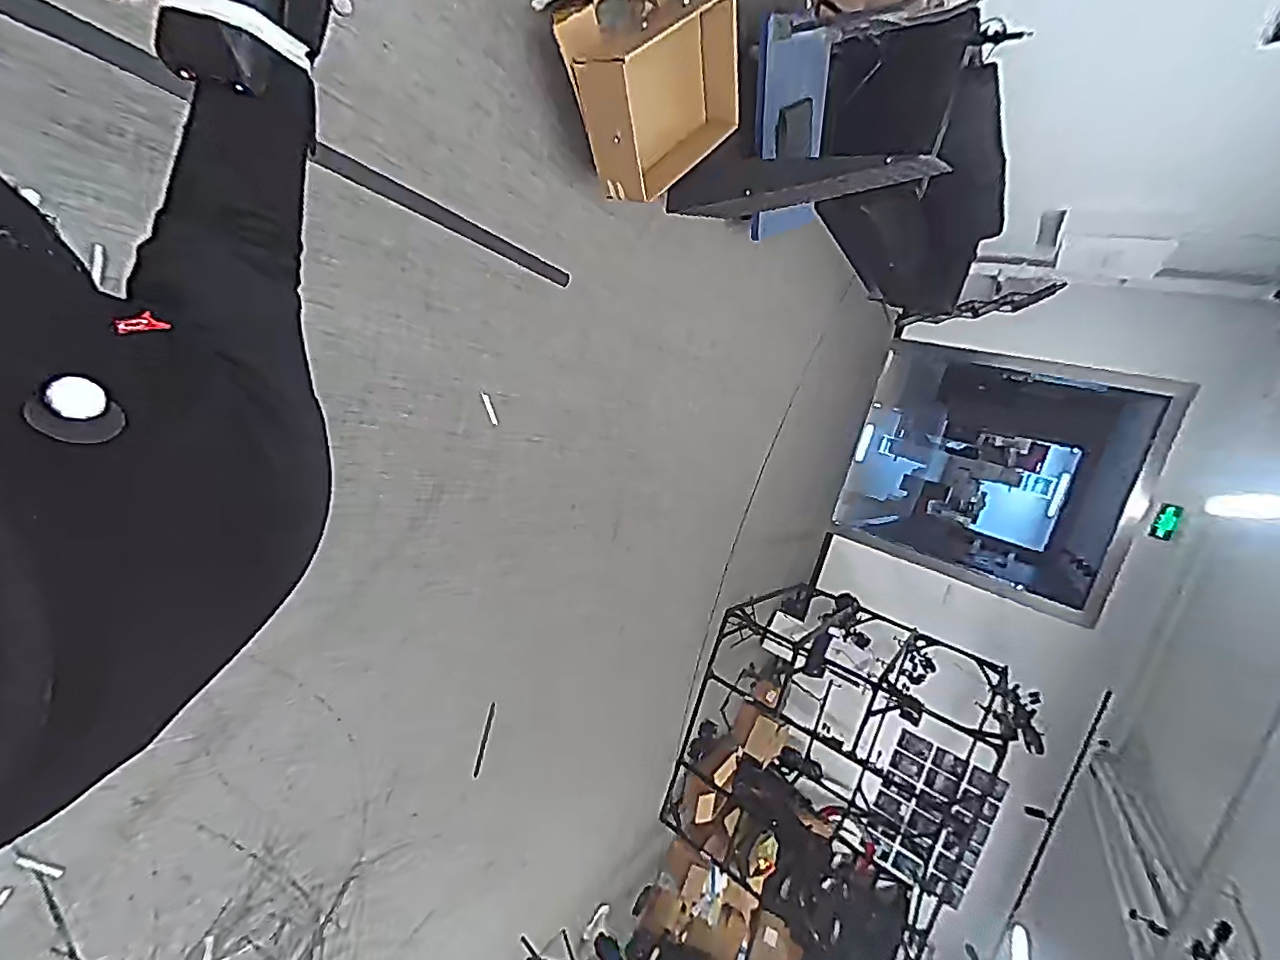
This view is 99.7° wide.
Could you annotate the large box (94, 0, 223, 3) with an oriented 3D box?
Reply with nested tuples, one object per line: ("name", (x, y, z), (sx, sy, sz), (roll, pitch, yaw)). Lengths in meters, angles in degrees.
("large box", (-0.446, -0.519, 0.237), (0.408, 0.320, 0.320), (0, 116, -57))
